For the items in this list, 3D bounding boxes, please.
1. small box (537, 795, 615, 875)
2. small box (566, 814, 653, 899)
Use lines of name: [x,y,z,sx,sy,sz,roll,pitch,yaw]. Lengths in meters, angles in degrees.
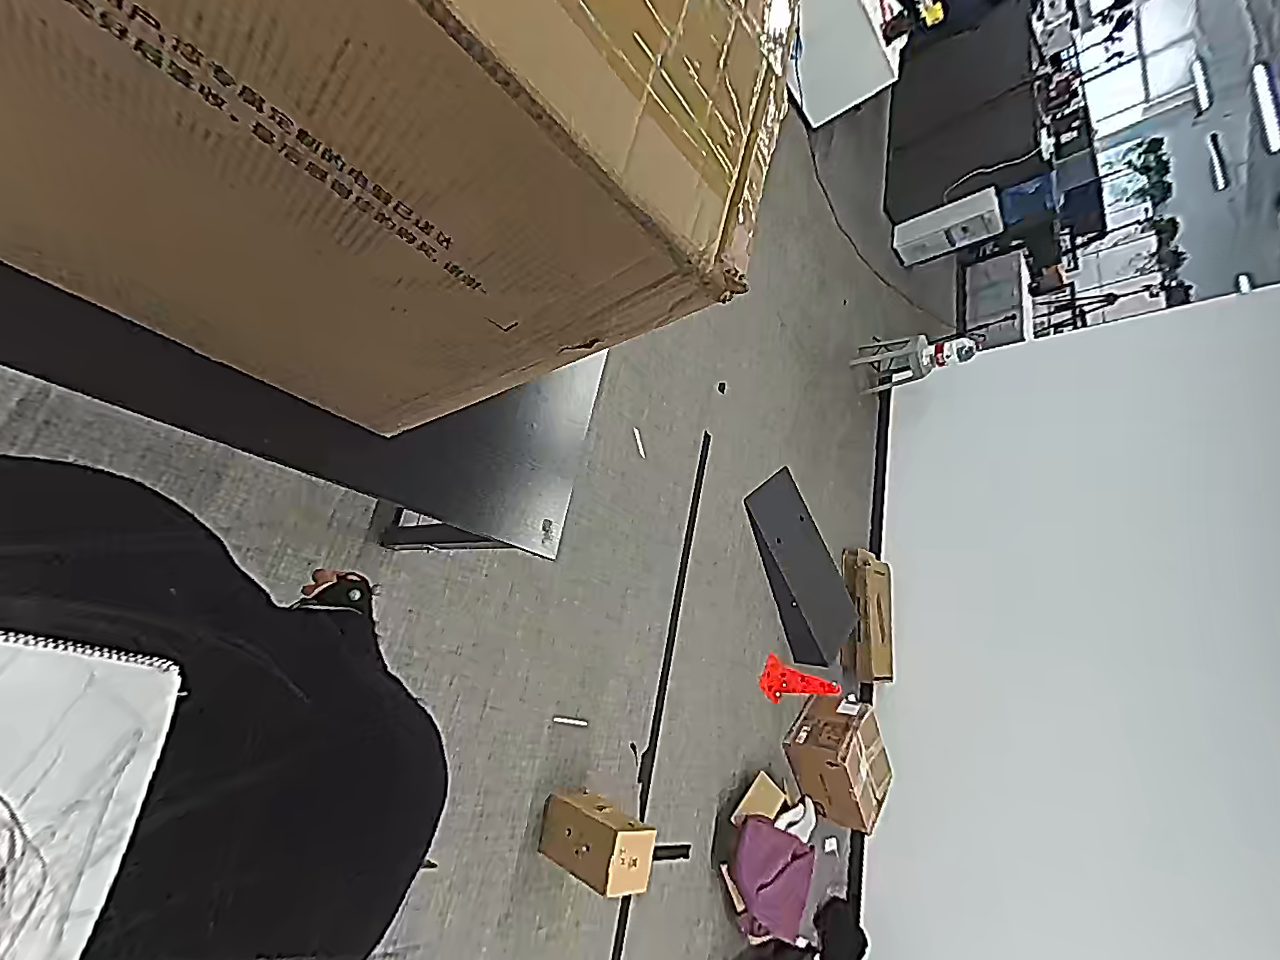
small box: [-0.209,1.135,1.746,0.168,0.176,0.179,26,67,-41]
small box: [-0.093,1.125,1.631,0.179,0.176,0.168,30,64,-39]
